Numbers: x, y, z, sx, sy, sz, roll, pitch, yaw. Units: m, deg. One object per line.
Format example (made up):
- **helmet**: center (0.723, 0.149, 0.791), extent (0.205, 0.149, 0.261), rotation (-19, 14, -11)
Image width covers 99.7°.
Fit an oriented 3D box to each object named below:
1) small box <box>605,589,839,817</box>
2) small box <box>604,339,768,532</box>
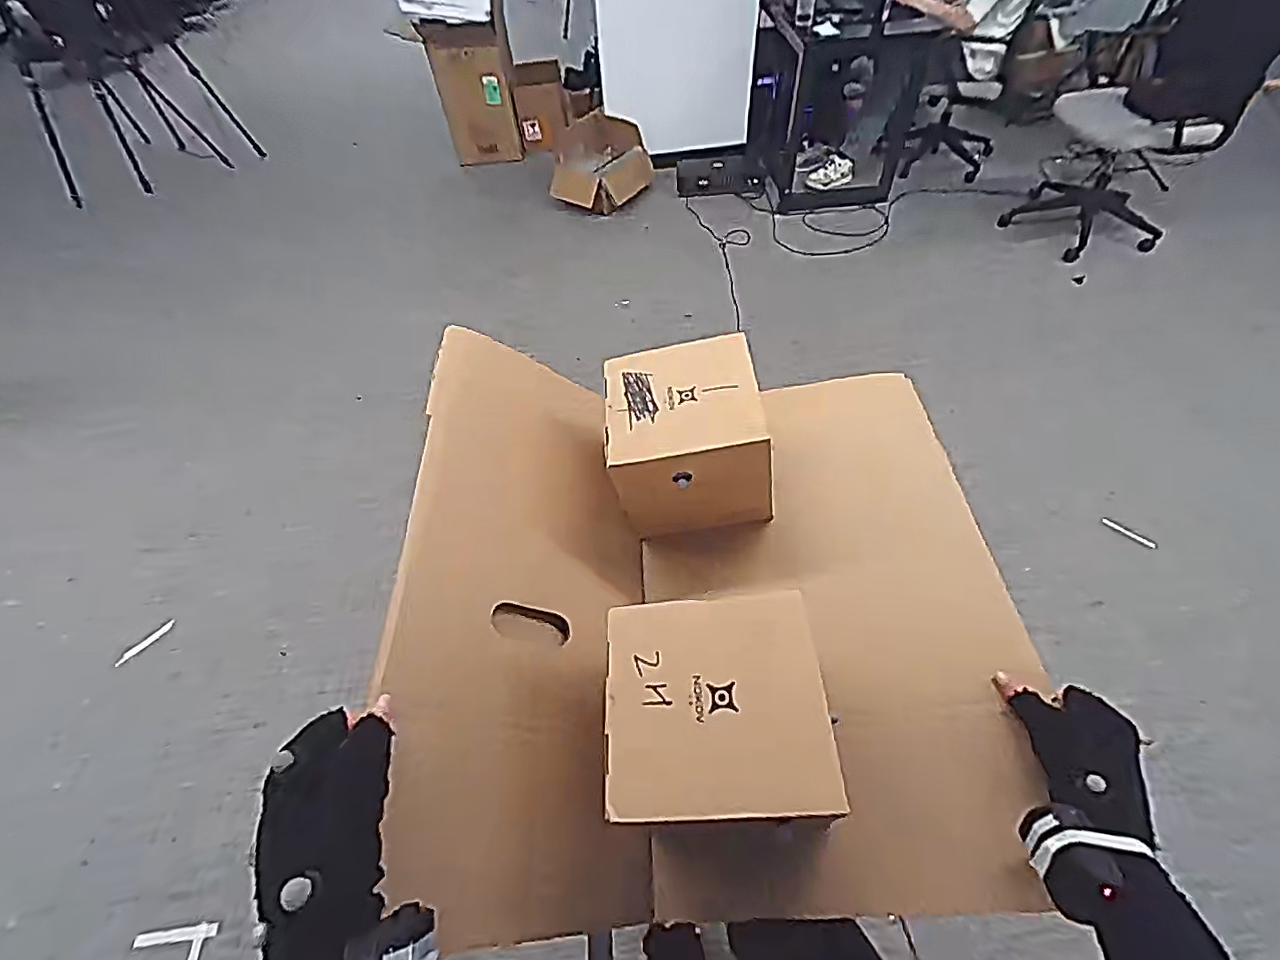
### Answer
- **small box**: center (0.074, 0.216, 0.508), extent (0.179, 0.176, 0.168), rotation (-8, 55, 11)
- **small box**: center (0.061, -0.048, 0.689), extent (0.179, 0.176, 0.168), rotation (-10, 55, 8)
